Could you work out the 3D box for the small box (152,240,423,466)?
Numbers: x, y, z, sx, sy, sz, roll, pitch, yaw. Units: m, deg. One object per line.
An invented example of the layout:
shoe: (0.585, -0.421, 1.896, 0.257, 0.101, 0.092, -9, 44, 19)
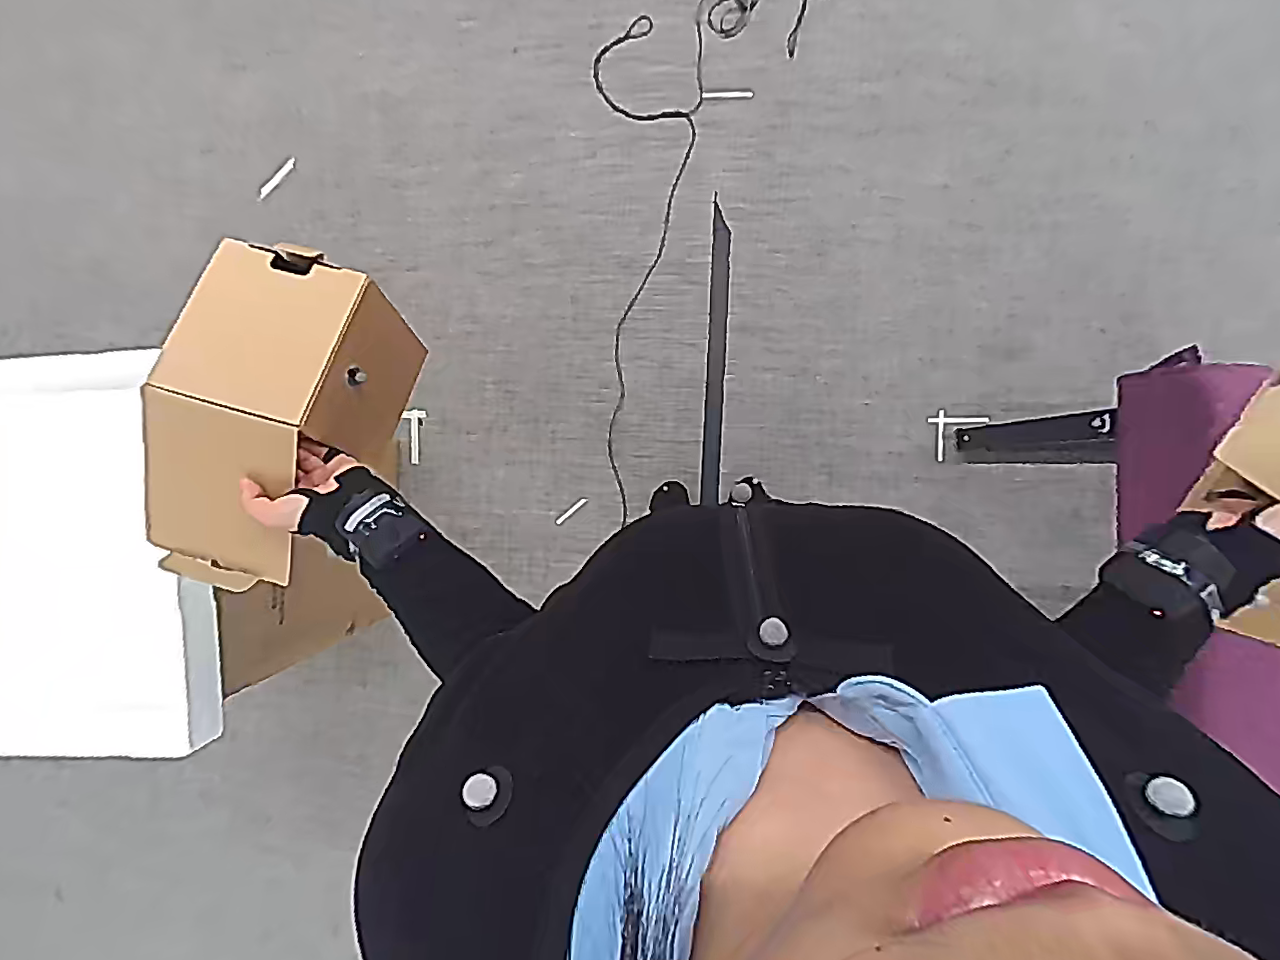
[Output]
small box: (-0.377, -0.131, 0.619, 0.168, 0.176, 0.179, 16, 75, 3)
